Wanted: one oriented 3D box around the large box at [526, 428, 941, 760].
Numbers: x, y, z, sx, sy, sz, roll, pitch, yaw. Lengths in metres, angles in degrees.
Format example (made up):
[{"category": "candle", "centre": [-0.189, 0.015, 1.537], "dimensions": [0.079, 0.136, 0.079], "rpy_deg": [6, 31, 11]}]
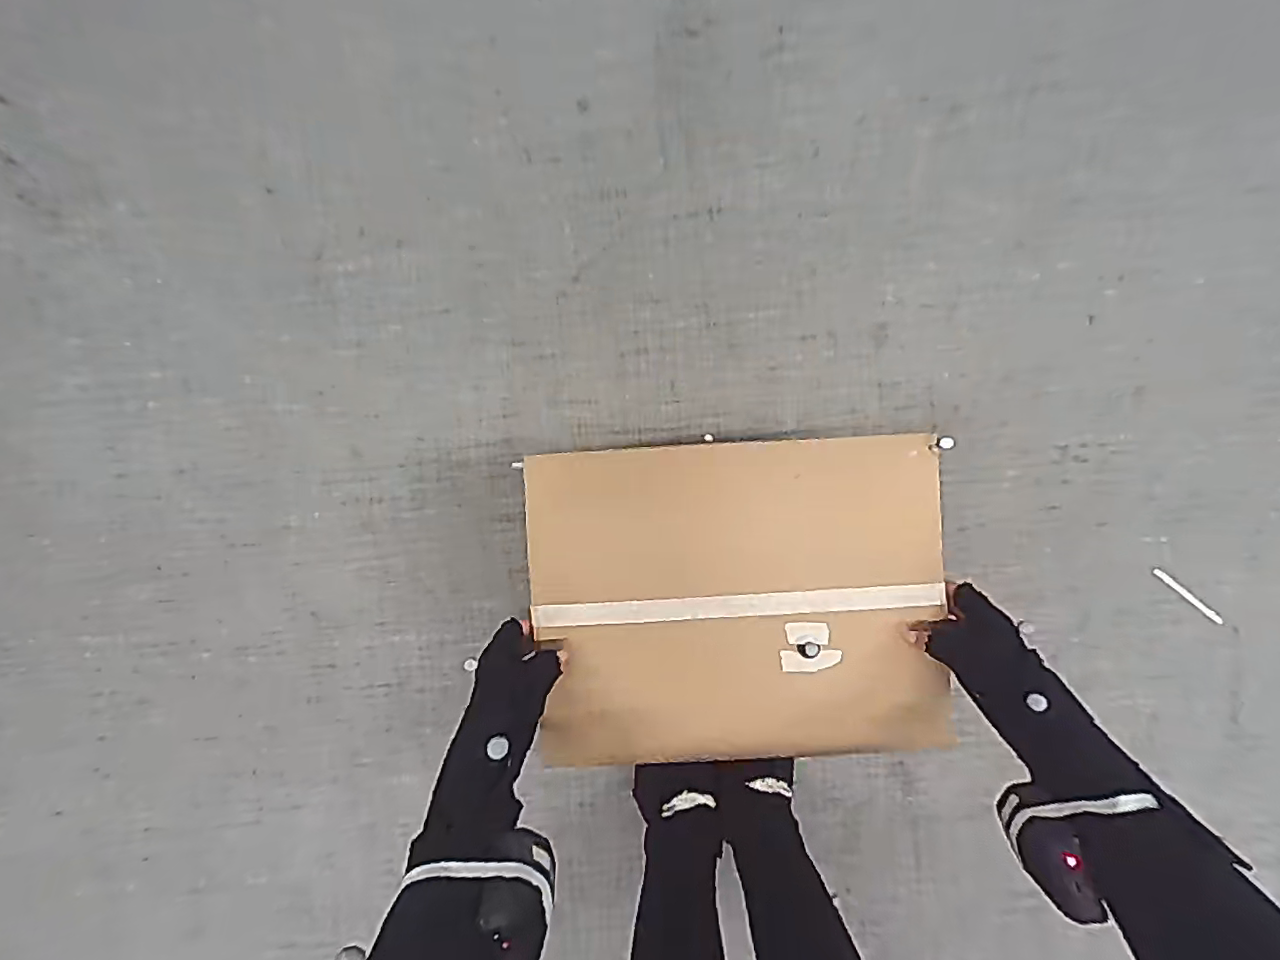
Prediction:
[{"category": "large box", "centre": [0.095, 0.112, 0.690], "dimensions": [0.408, 0.320, 0.320], "rpy_deg": [-4, 93, 1]}]
